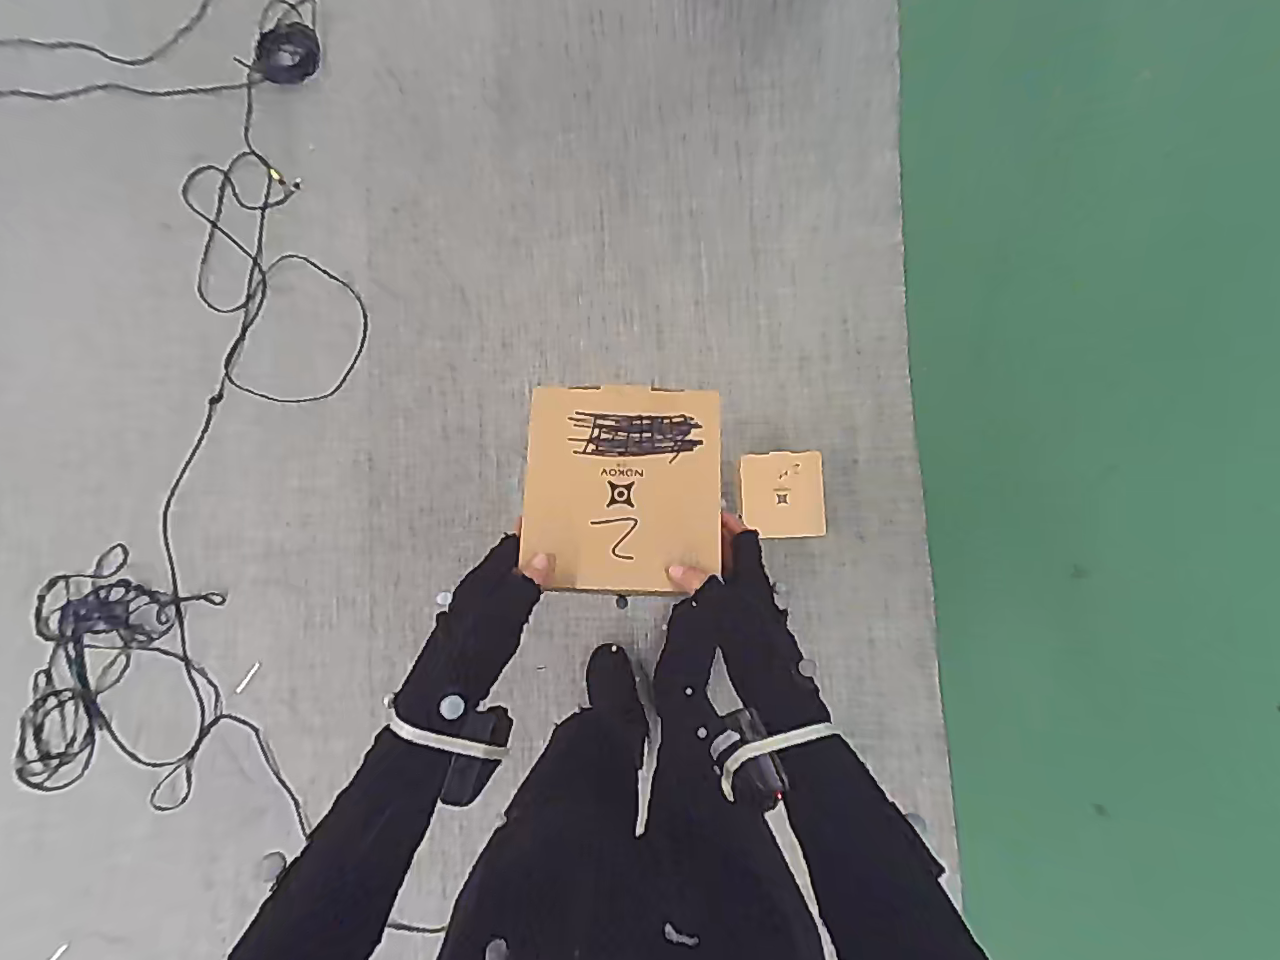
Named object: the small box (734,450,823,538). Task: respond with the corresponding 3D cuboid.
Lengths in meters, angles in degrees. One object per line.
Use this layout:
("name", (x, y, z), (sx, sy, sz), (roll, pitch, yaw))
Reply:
("small box", (0.295, 0.032, 1.175), (0.168, 0.176, 0.179), (-3, 85, 6))
